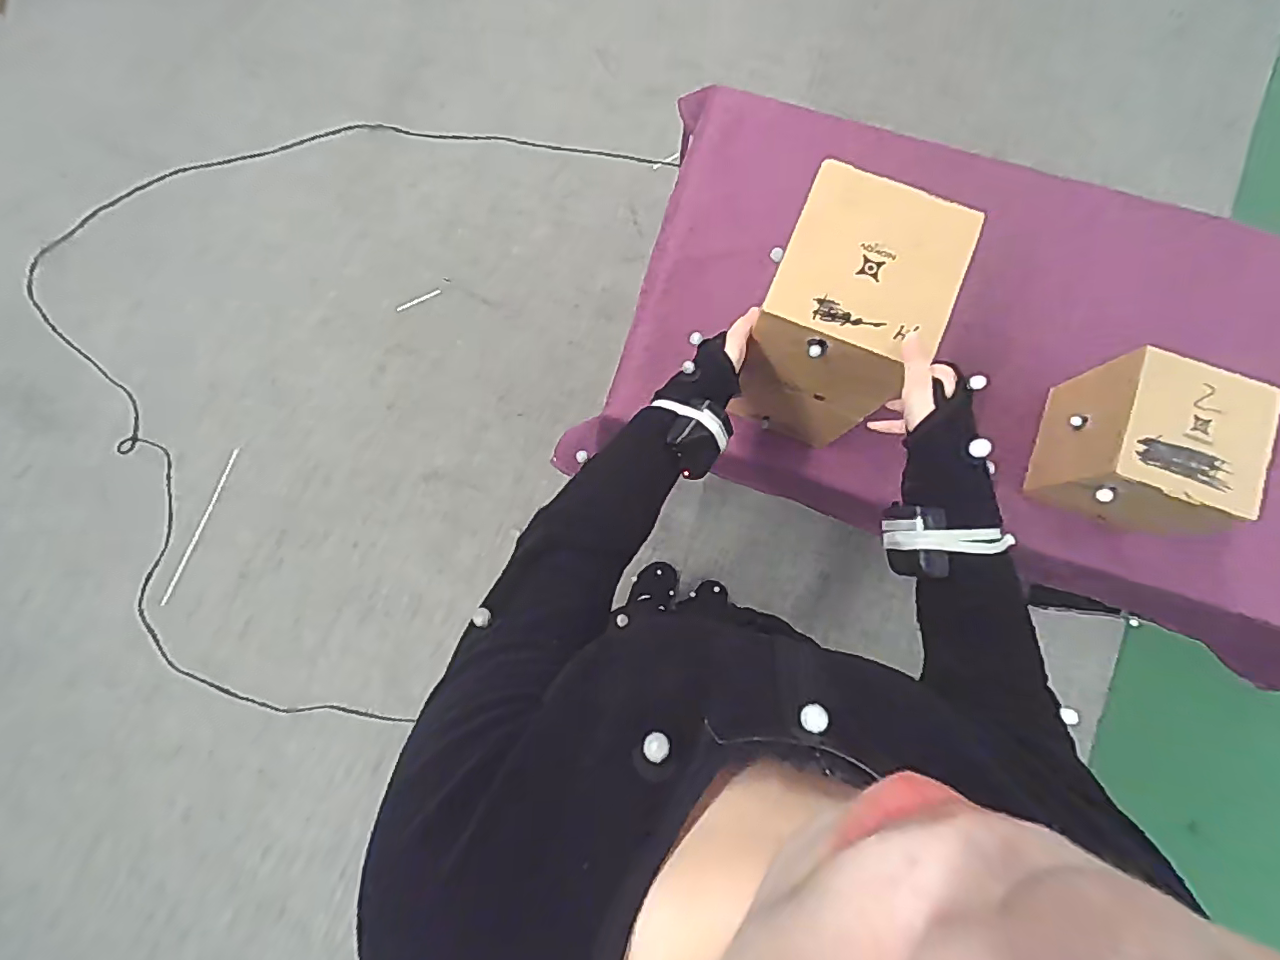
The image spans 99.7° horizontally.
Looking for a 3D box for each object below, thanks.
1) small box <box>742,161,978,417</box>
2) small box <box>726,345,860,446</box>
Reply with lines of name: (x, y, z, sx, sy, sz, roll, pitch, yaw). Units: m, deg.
small box: (0.222, -0.194, 0.594, 0.168, 0.176, 0.179, 23, 82, 7)
small box: (0.230, -0.169, 0.756, 0.168, 0.176, 0.179, 23, 83, 6)
